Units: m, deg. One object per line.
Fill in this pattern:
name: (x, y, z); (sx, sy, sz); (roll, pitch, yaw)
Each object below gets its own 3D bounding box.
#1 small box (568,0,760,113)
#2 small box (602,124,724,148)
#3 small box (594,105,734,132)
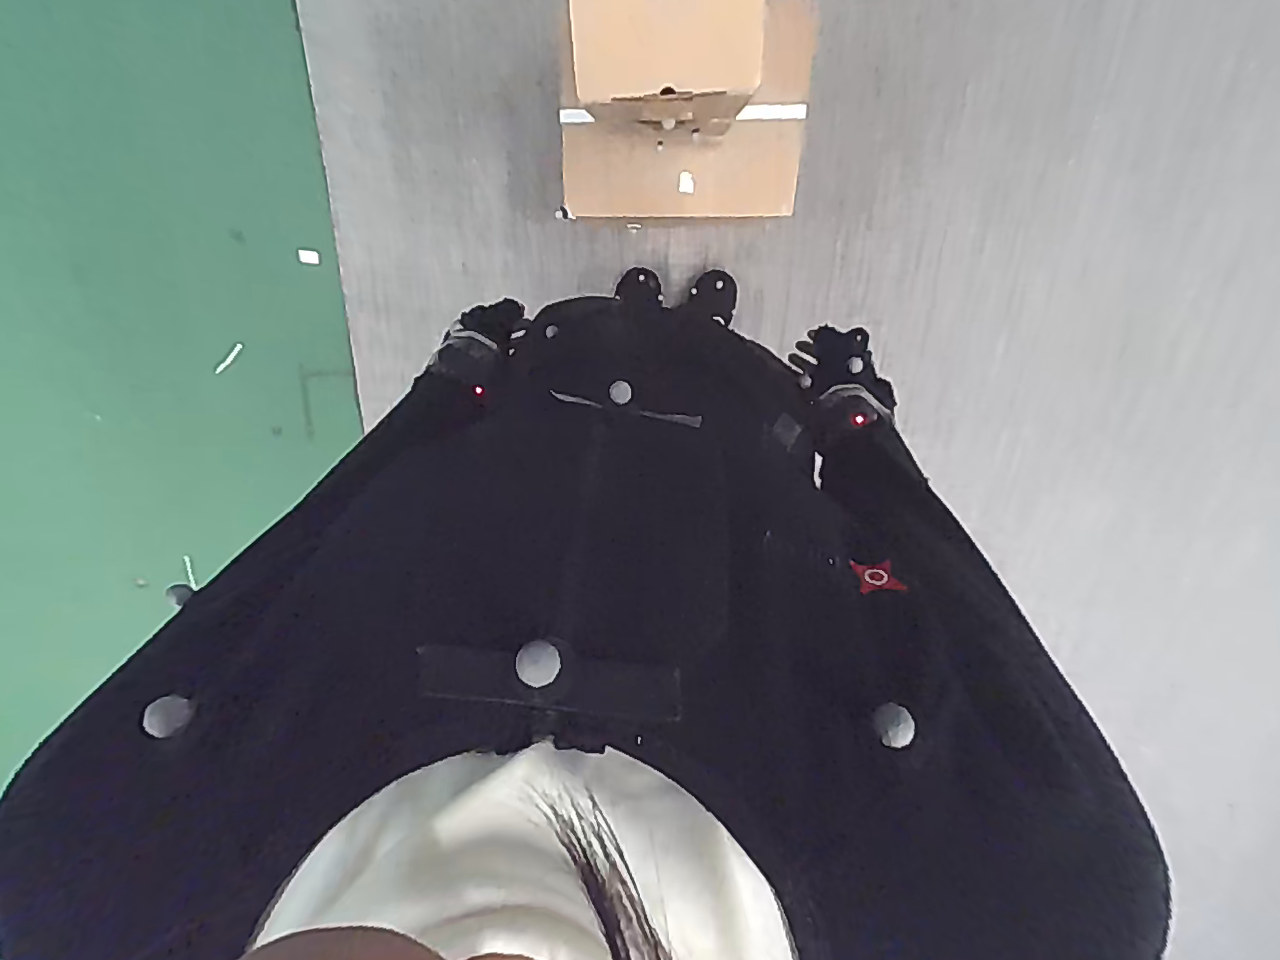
small box: (0.024, -0.460, 0.514); (0.168, 0.176, 0.179); (-1, 119, 4)
small box: (0.044, -0.604, 0.803); (0.179, 0.176, 0.168); (8, 117, 0)
small box: (0.032, -0.534, 0.660); (0.168, 0.176, 0.179); (0, 117, 3)
